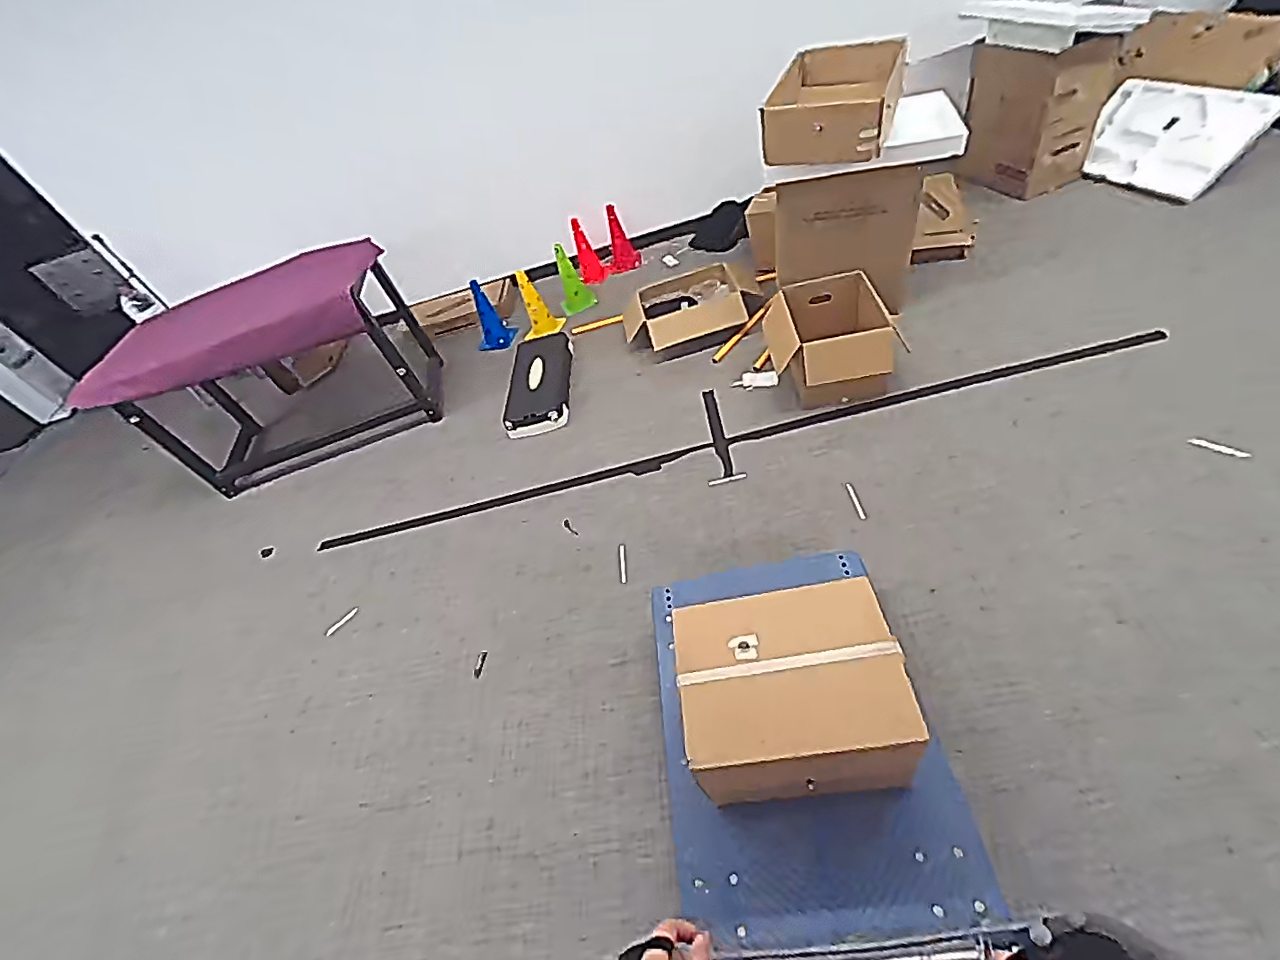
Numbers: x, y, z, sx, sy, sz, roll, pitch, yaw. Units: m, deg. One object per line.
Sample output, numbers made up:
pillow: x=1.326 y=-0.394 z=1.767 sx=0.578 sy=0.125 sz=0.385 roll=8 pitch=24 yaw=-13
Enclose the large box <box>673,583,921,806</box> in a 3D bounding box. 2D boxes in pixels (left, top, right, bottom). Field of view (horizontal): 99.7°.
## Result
large box: x=0.310 y=0.458 z=1.132 sx=0.408 sy=0.320 sz=0.320 roll=-13 pitch=46 yaw=9
